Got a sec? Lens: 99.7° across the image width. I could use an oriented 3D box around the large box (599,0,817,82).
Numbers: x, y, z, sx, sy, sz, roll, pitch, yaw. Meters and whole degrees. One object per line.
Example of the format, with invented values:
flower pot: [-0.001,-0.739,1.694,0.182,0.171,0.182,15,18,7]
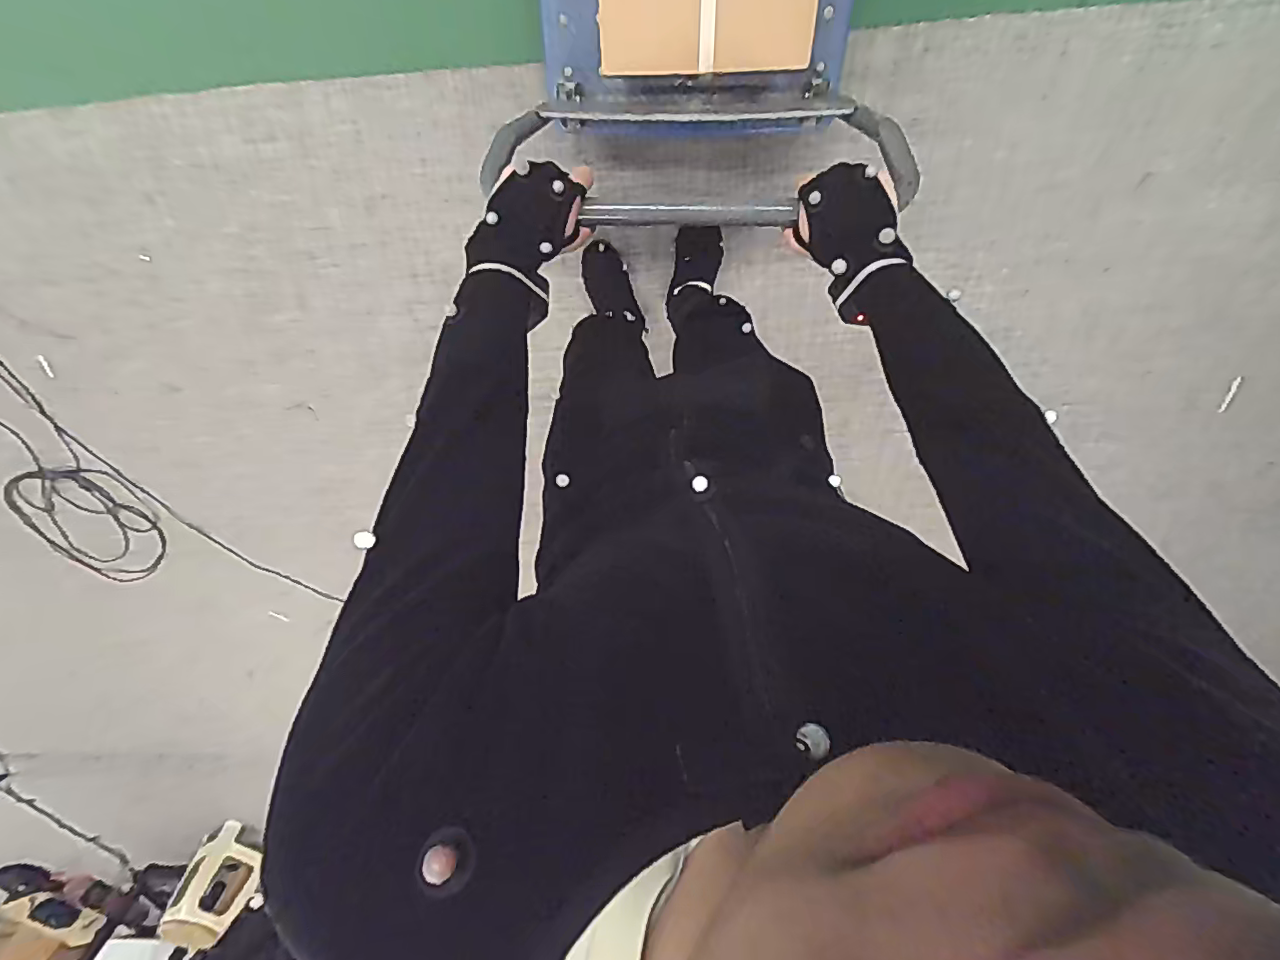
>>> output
large box: [0.105,-0.862,0.822,0.320,0.320,0.408,2,126,4]
